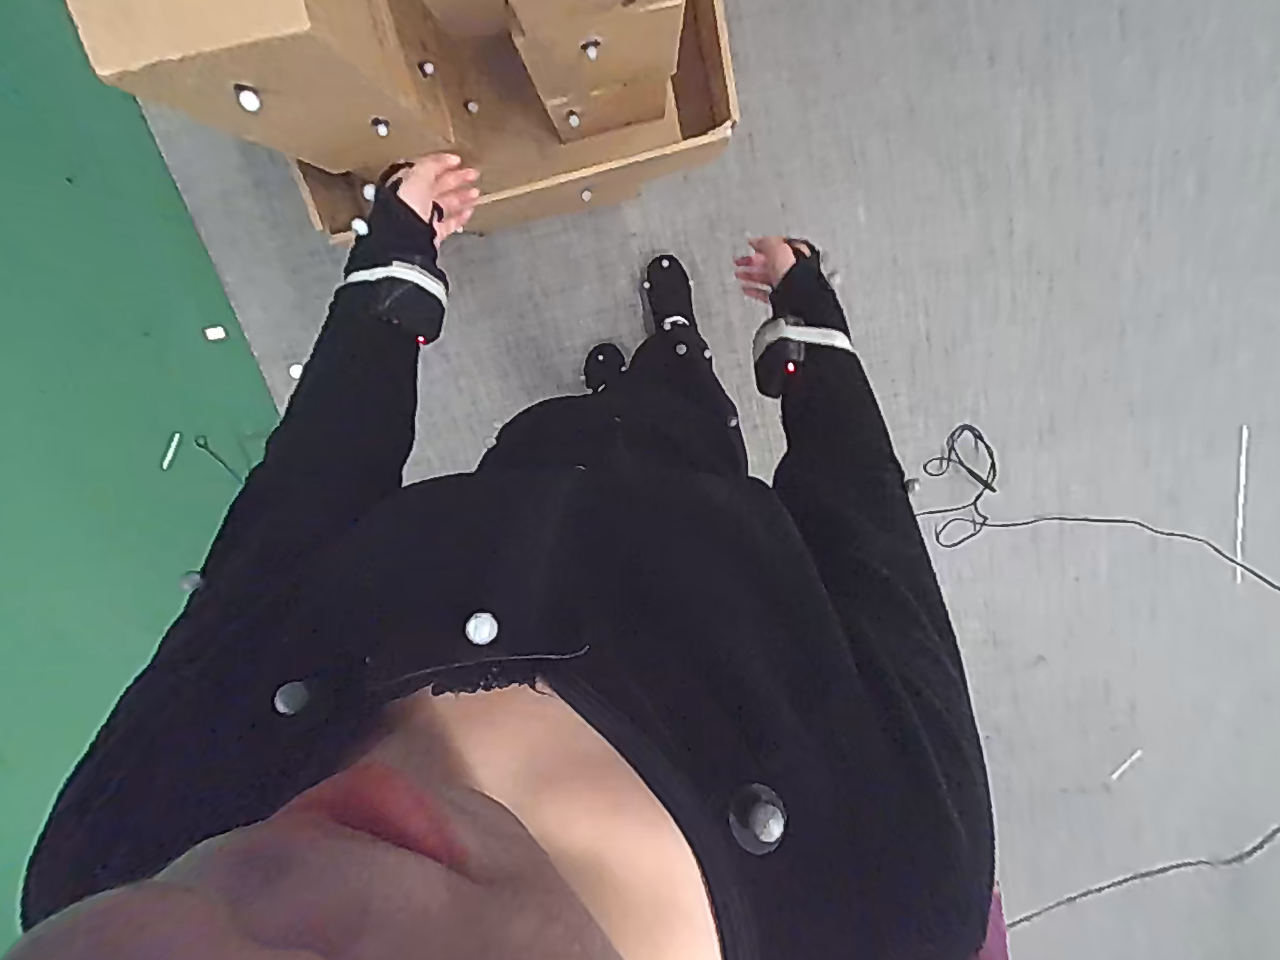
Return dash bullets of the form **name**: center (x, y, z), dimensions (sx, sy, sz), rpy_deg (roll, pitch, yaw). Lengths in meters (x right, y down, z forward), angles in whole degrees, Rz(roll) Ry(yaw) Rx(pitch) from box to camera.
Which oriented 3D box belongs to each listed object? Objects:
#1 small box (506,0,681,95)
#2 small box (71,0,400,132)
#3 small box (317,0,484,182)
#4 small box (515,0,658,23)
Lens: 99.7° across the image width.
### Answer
- **small box**: center (-0.053, -0.552, 0.587), dimensions (0.179, 0.176, 0.168), rpy_deg (-9, 107, 3)
- **small box**: center (-0.343, -0.425, 0.463), dimensions (0.179, 0.176, 0.168), rpy_deg (-9, 108, 4)
- **small box**: center (-0.345, -0.543, 0.768), dimensions (0.179, 0.176, 0.168), rpy_deg (-11, 108, 3)
- **small box**: center (-0.050, -0.508, 0.427), dimensions (0.168, 0.176, 0.179), rpy_deg (-11, 107, 3)
